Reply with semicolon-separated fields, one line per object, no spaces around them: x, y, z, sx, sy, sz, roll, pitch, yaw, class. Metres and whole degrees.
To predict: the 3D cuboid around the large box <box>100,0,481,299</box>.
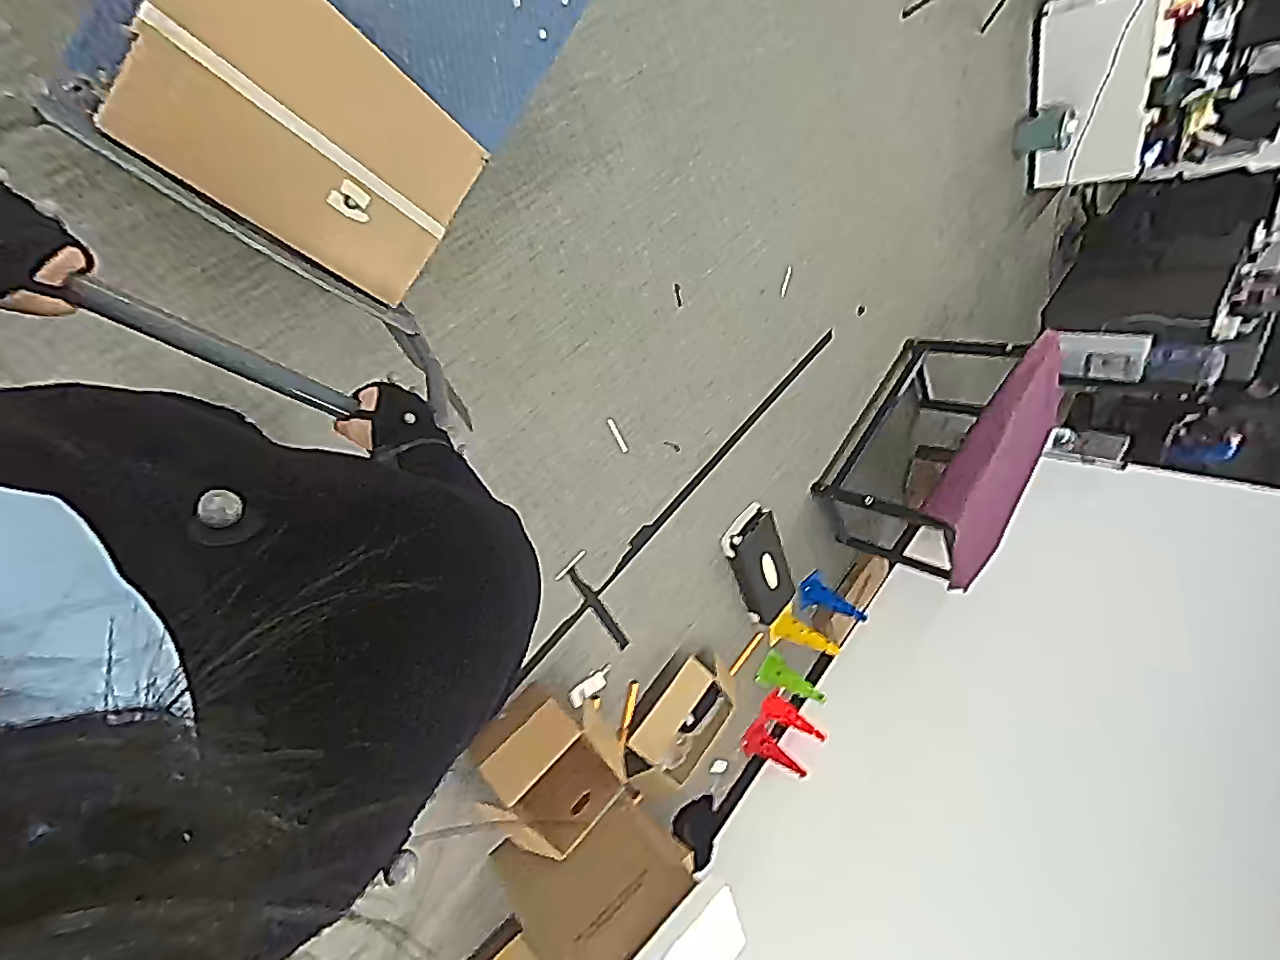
-0.562;-0.580;0.911;0.408;0.320;0.320;30;99;-45;large box
